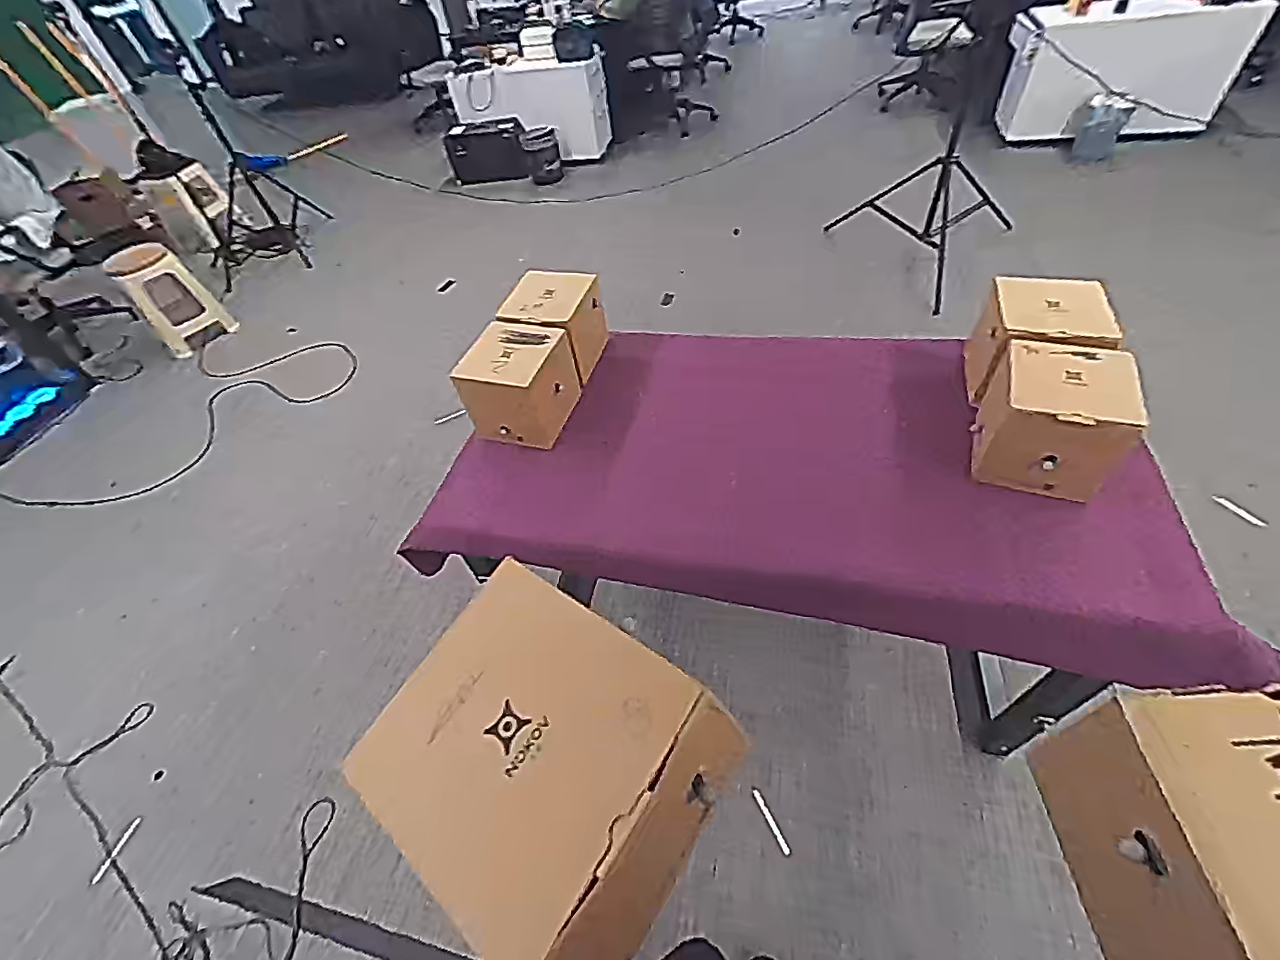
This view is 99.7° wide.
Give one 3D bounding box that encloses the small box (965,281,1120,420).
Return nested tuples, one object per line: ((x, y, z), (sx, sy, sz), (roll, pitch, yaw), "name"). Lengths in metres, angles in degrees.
((0.708, -0.235, 0.978), (0.168, 0.176, 0.179), (10, 51, 15), "small box")

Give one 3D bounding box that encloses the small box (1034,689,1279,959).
((0.380, 0.238, 0.322), (0.168, 0.176, 0.179), (-8, 52, 10), "small box")

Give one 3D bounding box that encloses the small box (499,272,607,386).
((-0.180, -0.333, 1.191), (0.168, 0.176, 0.179), (9, 53, 16), "small box")

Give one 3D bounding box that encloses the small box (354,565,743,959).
((-0.046, 0.194, 0.381), (0.179, 0.176, 0.168), (23, 66, 33), "small box")
